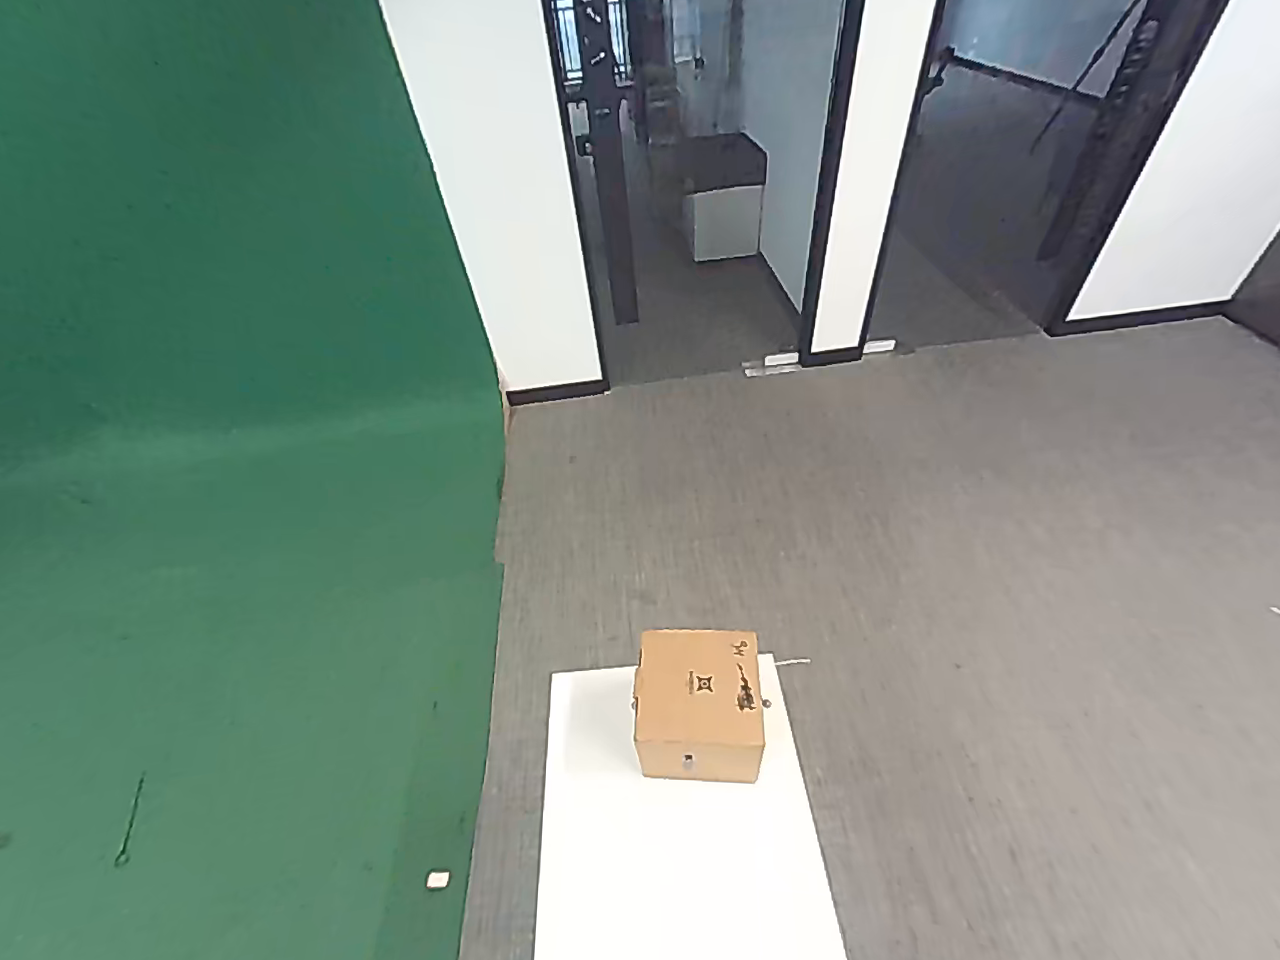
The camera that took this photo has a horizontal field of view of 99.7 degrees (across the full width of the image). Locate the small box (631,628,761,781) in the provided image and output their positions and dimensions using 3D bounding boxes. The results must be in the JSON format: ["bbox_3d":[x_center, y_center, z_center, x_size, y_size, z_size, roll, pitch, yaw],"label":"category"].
[{"bbox_3d":[0.088,0.344,0.825,0.179,0.176,0.168,-1,46,7],"label":"small box"}]
